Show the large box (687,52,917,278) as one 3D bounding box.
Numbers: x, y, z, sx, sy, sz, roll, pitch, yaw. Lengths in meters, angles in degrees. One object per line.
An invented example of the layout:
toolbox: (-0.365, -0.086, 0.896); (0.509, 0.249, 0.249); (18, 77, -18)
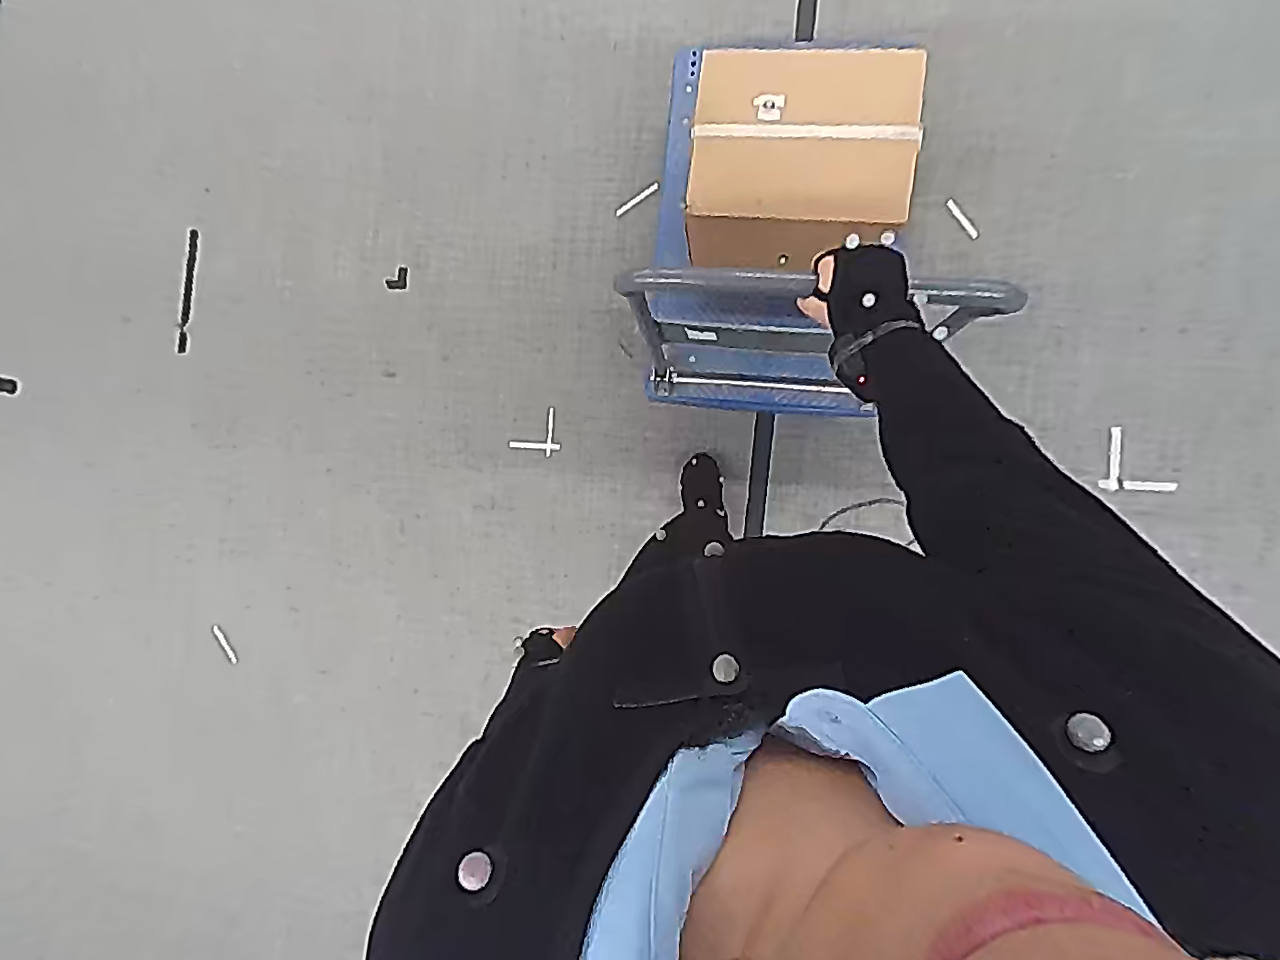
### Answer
large box: (0.324, -0.642, 1.161); (0.408, 0.320, 0.320); (6, 90, 10)
